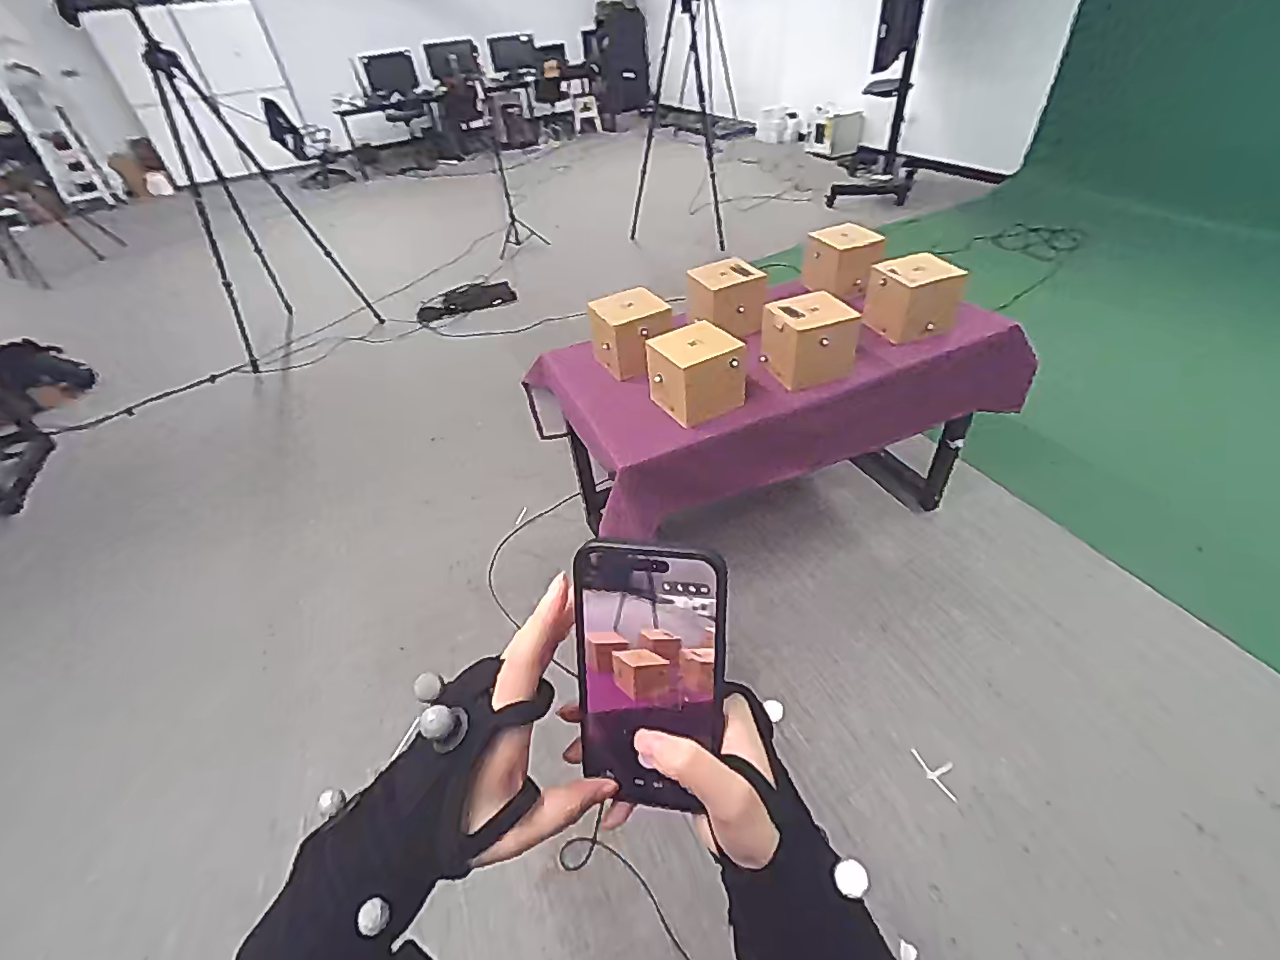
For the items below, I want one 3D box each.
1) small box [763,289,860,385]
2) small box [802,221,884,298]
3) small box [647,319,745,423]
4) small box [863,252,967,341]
[{"bbox_3d":[0.426,-0.360,1.375,0.179,0.176,0.168,-16,43,-11],"label":"small box"},{"bbox_3d":[0.634,-0.696,1.712,0.168,0.176,0.179,-18,44,-11],"label":"small box"},{"bbox_3d":[0.136,-0.263,1.307,0.179,0.176,0.168,-24,45,-20],"label":"small box"},{"bbox_3d":[0.747,-0.505,1.490,0.179,0.176,0.168,-15,43,-10],"label":"small box"}]
